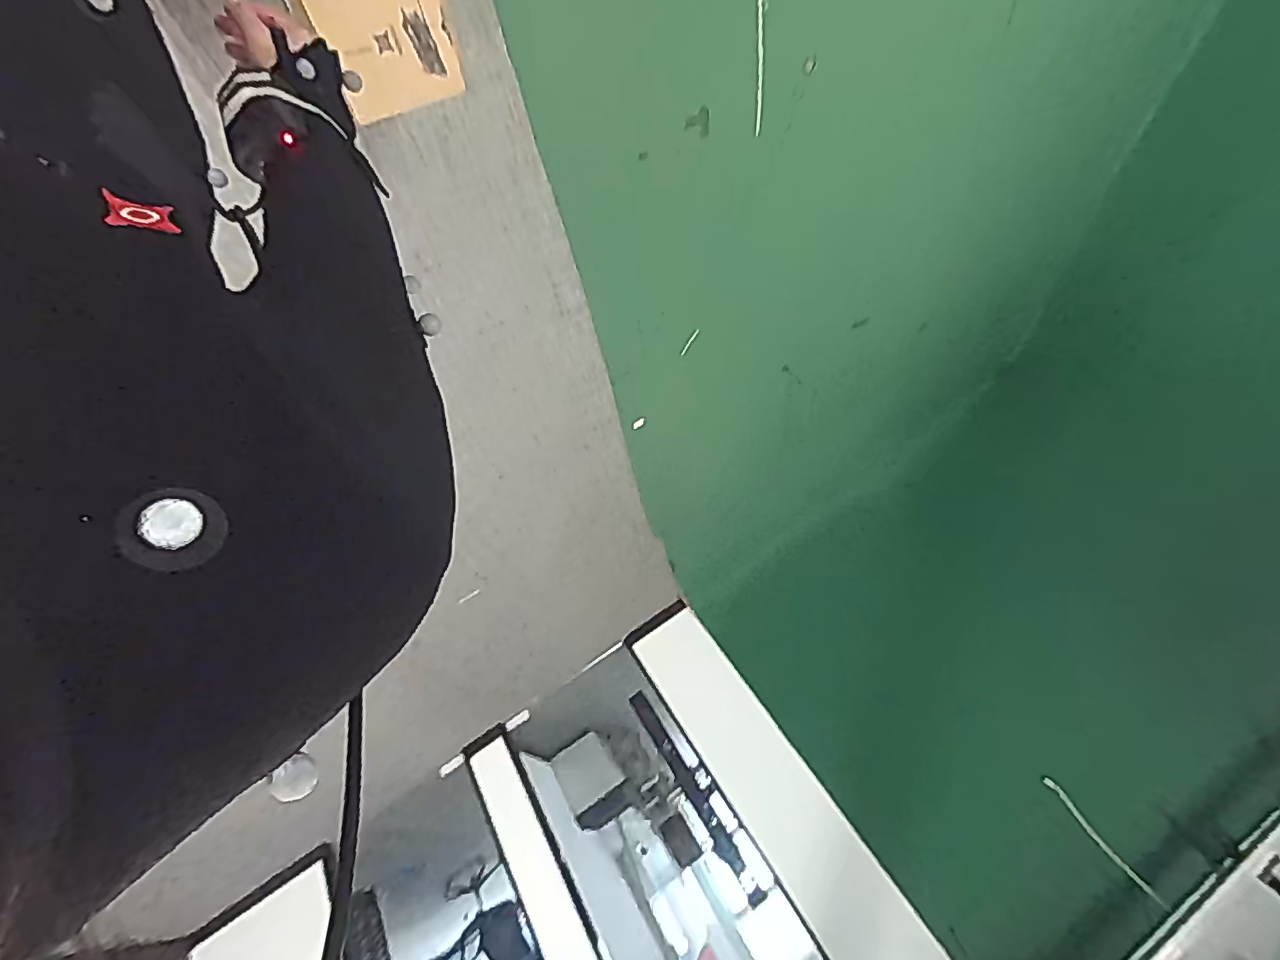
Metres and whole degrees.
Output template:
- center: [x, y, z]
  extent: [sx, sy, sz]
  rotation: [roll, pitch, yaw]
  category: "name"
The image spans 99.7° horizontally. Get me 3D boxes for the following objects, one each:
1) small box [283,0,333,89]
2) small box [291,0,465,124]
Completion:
- center: [-0.481, -0.782, 0.890]
  extent: [0.179, 0.176, 0.168]
  rotation: [-28, 145, -13]
  category: "small box"
- center: [-0.395, -0.670, 0.805]
  extent: [0.179, 0.176, 0.168]
  rotation: [-29, 144, -14]
  category: "small box"
